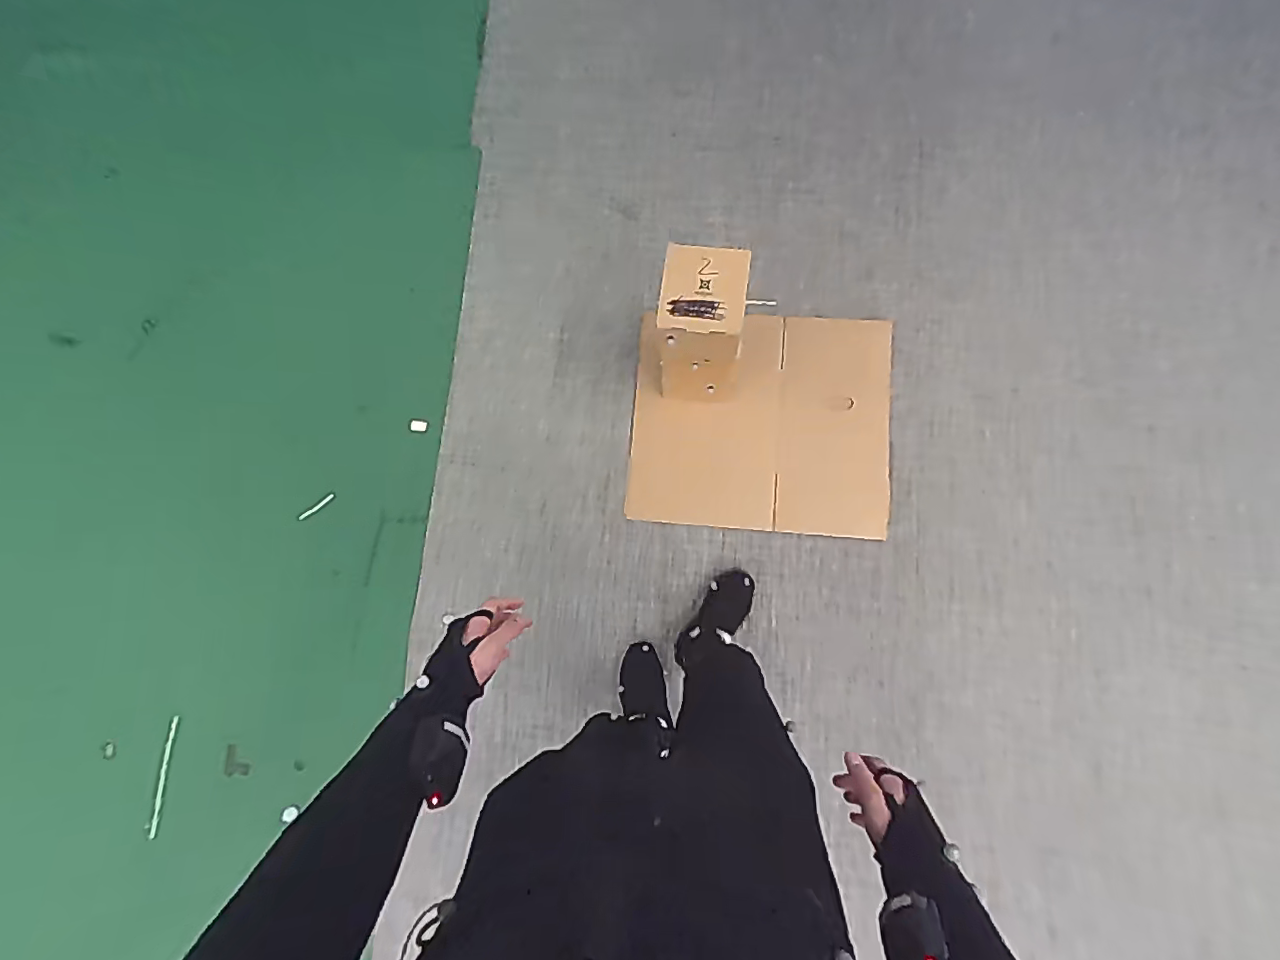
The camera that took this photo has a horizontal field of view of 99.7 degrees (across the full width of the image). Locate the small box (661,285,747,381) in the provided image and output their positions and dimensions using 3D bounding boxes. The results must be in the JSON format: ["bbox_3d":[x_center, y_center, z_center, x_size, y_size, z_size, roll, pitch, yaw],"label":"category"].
[{"bbox_3d":[0.148,-0.339,1.273,0.179,0.176,0.168,6,82,6],"label":"small box"}]

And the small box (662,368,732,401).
[{"bbox_3d":[0.154,-0.315,1.433,0.179,0.176,0.168,6,81,6],"label":"small box"}]
